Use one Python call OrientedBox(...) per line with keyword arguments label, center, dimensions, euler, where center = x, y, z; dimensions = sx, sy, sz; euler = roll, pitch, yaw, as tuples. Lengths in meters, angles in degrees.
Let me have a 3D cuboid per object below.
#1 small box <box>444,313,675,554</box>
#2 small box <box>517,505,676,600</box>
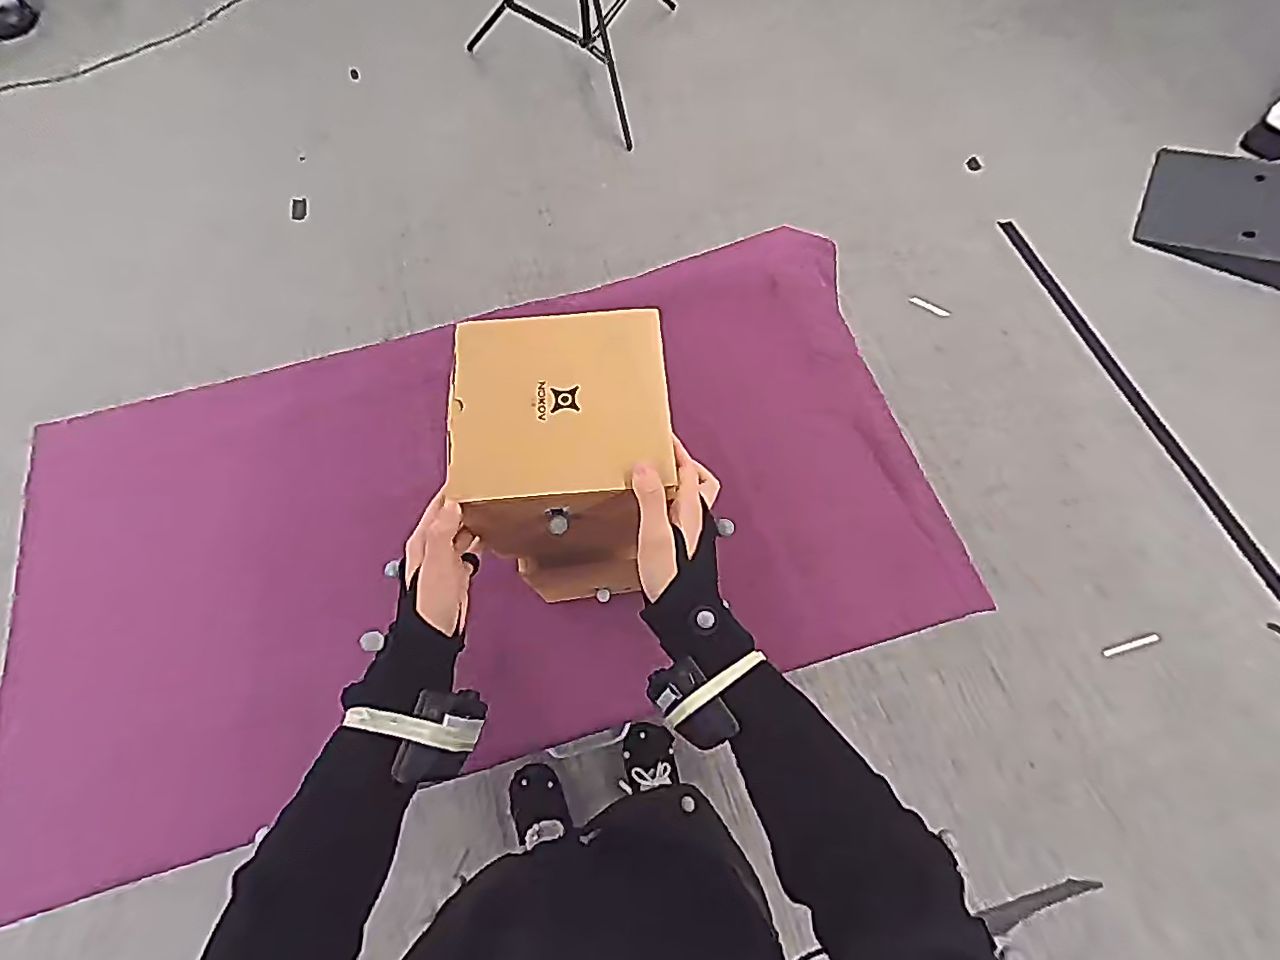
OrientedBox(label="small box", center=(-0.065, -0.032, 0.508), dimensions=(0.179, 0.176, 0.168), euler=(-5, 68, 0))
OrientedBox(label="small box", center=(-0.053, 0.037, 0.656), dimensions=(0.168, 0.176, 0.179), euler=(-7, 69, -2))
